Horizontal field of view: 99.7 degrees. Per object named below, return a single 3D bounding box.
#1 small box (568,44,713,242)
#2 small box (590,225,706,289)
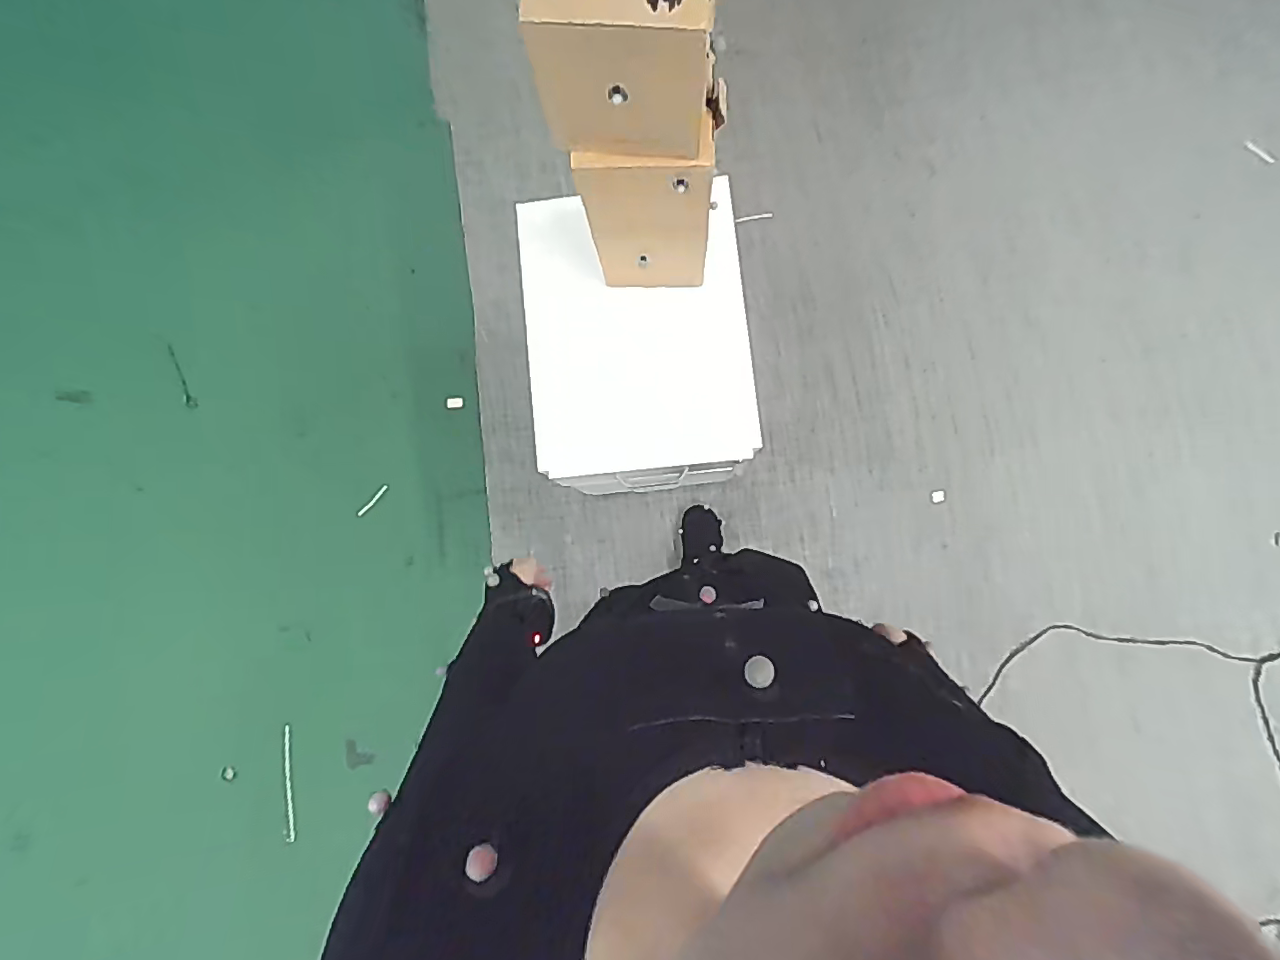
[{"bbox_3d":[0.006,-0.443,0.736,0.179,0.176,0.168,0,84,3],"label":"small box"},{"bbox_3d":[0.020,-0.431,0.898,0.179,0.176,0.168,1,85,4],"label":"small box"}]
